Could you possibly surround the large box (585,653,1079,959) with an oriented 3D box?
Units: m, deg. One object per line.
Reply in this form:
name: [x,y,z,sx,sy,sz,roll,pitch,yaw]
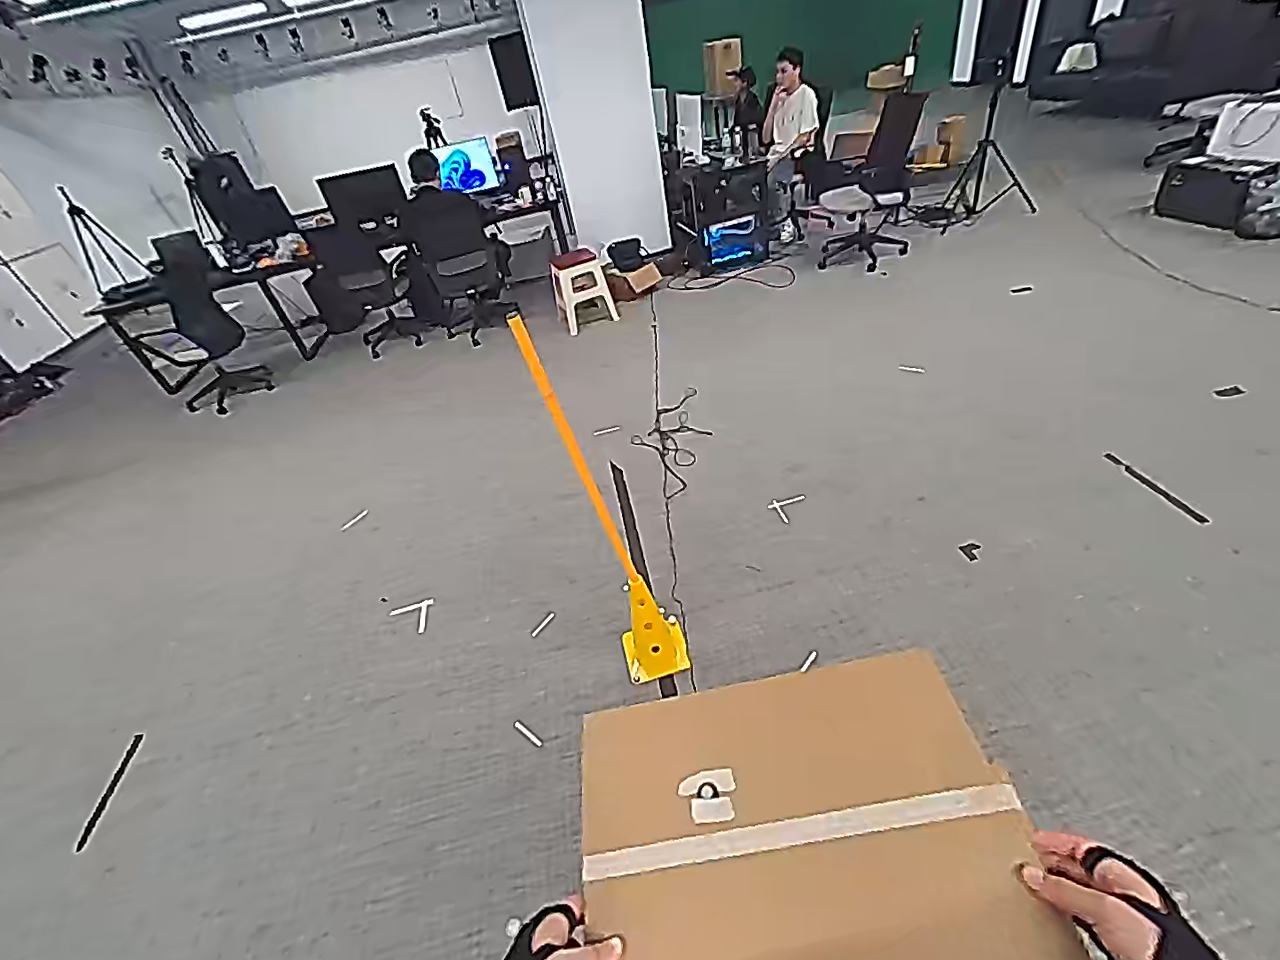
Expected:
large box: [0.180,0.452,0.618,0.408,0.320,0.320,-15,39,7]
